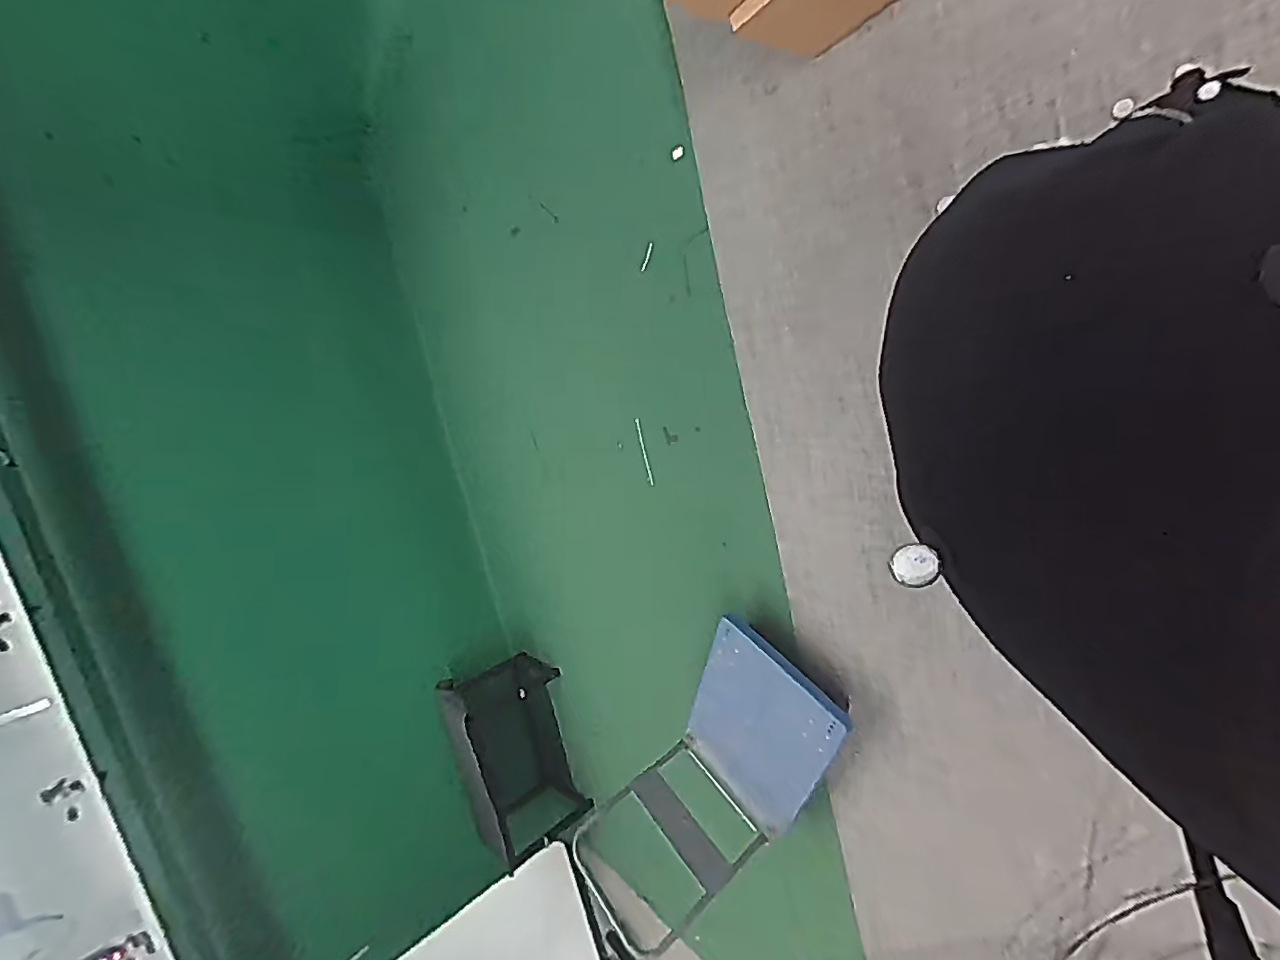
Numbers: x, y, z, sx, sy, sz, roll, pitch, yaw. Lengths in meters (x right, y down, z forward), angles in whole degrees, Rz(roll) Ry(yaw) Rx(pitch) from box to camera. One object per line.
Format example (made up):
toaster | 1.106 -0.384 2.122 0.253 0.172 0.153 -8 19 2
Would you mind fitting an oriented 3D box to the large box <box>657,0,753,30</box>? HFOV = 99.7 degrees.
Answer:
large box | 0.169 -1.180 1.012 0.408 0.320 0.320 -2 100 52
